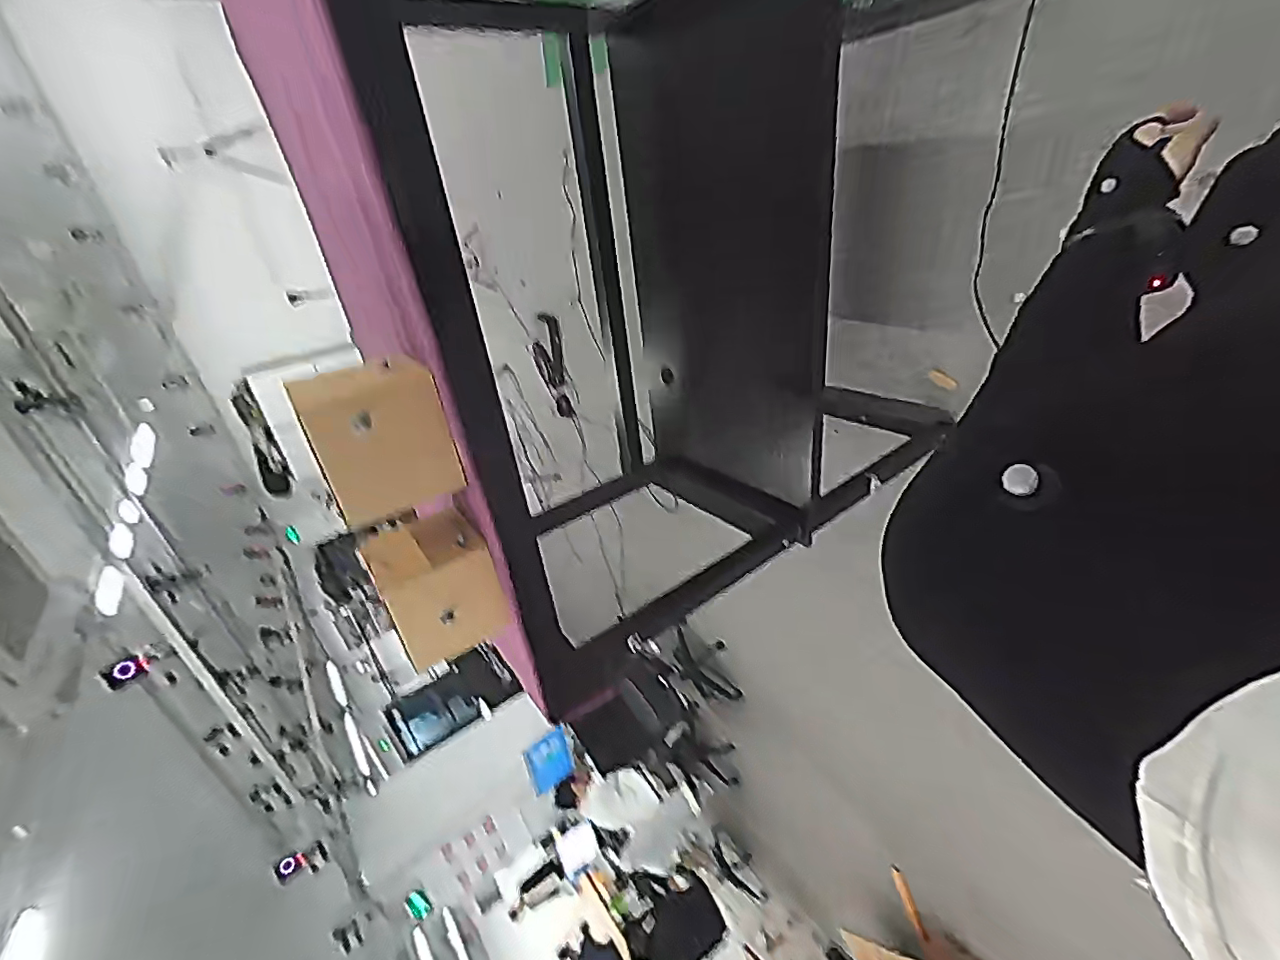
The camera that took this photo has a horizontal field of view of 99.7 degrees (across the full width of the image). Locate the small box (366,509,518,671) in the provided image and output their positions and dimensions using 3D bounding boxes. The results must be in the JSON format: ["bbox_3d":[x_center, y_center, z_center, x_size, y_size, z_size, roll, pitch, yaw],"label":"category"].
[{"bbox_3d":[-0.329,0.174,0.912,0.168,0.176,0.179,31,138,47],"label":"small box"}]
